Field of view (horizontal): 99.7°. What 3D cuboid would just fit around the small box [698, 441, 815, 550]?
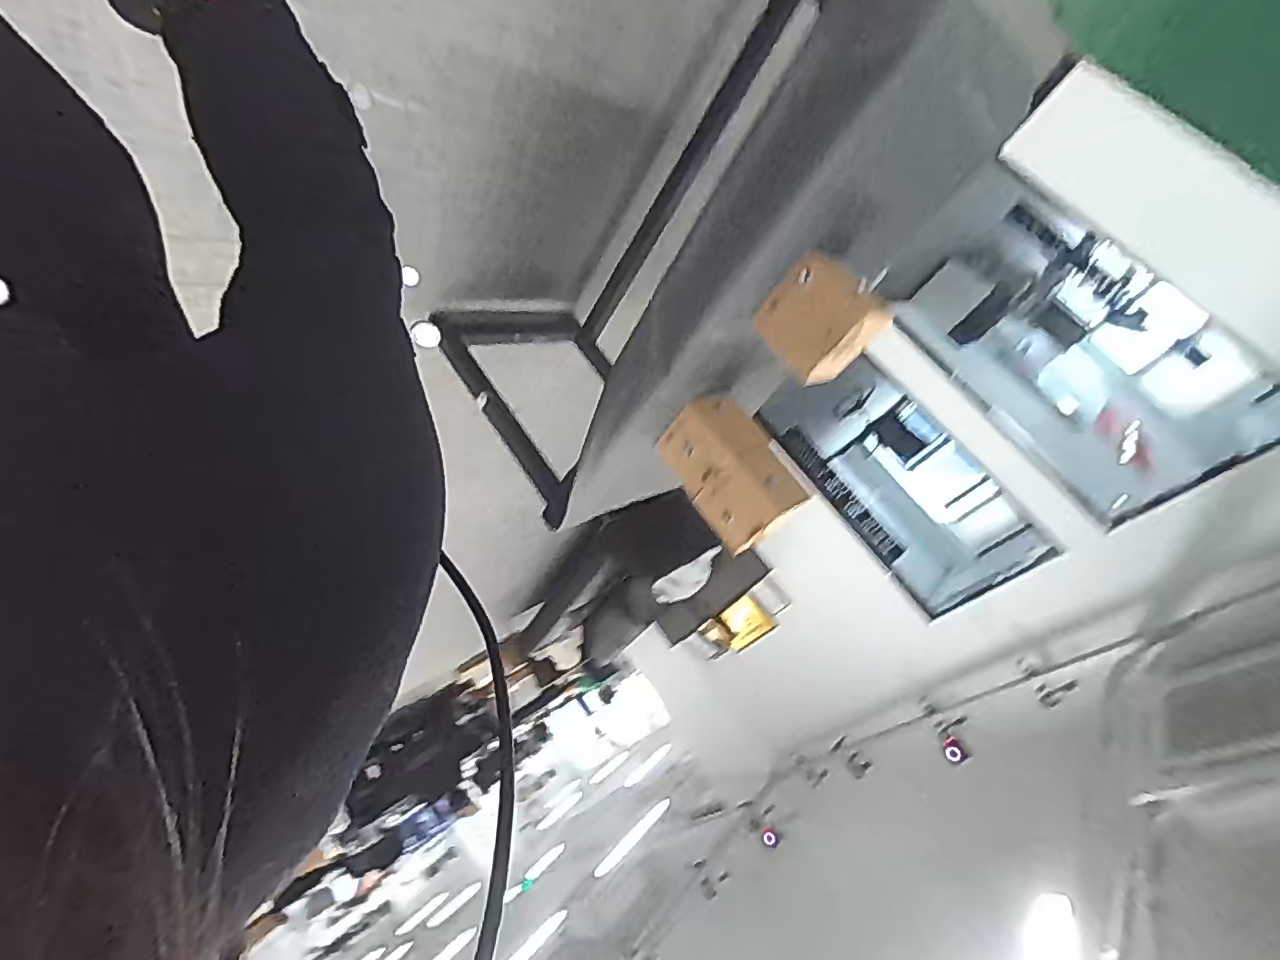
[{"bbox_3d":[0.268,0.030,1.266,0.179,0.176,0.168,-20,158,-47],"label":"small box"}]

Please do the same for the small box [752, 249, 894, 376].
[{"bbox_3d":[0.352,-0.324,1.053,0.179,0.176,0.168,-19,156,-50],"label":"small box"}]

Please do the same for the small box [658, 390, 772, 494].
[{"bbox_3d":[0.175,-0.097,1.308,0.179,0.176,0.168,-20,157,-44],"label":"small box"}]
